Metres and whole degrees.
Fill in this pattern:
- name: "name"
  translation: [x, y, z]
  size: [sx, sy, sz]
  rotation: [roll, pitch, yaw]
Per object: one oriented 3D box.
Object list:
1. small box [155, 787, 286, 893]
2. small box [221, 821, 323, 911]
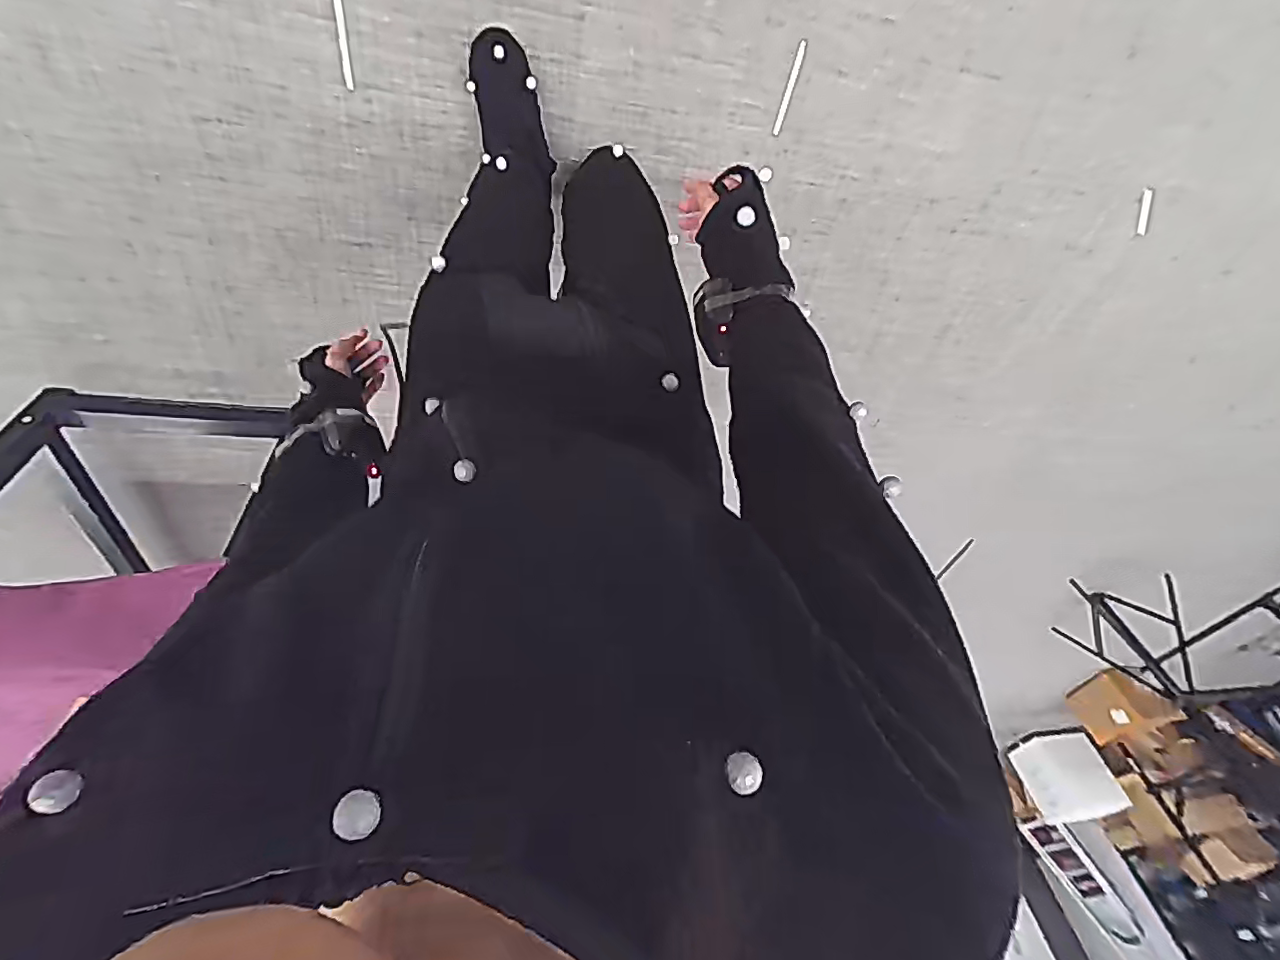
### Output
- name: "small box"
  translation: [-0.949, 0.827, 1.249]
  size: [0.179, 0.176, 0.168]
  rotation: [1, 135, -12]
- name: "small box"
  translation: [-0.993, 1.054, 1.479]
  size: [0.168, 0.176, 0.179]
  rotation: [1, 135, -13]
